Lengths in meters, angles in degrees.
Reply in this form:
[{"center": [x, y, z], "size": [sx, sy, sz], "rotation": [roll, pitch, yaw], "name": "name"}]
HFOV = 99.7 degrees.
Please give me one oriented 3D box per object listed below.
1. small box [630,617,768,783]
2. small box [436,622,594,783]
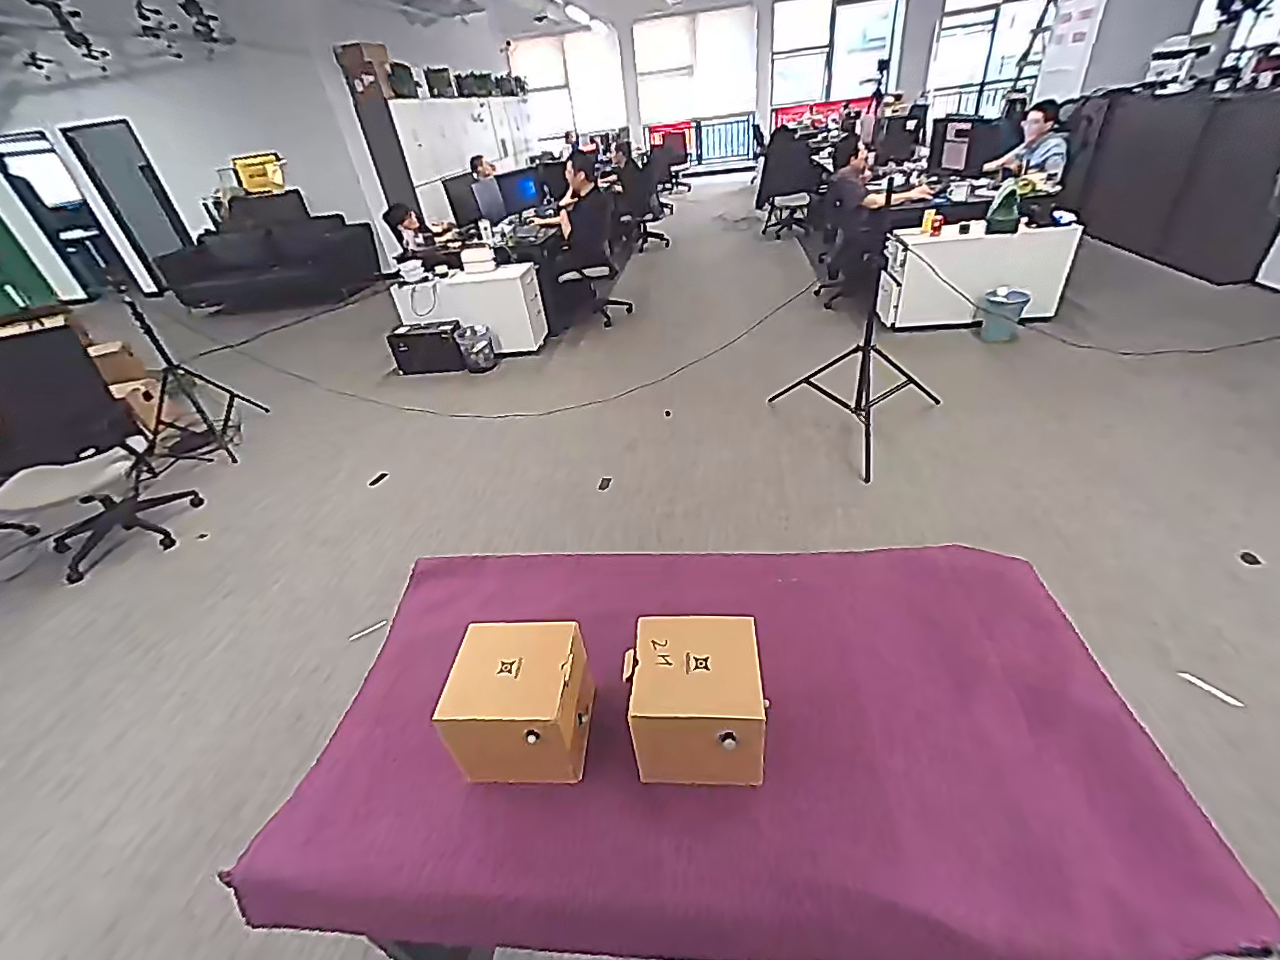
[{"center": [0.089, 0.320, 0.791], "size": [0.179, 0.176, 0.168], "rotation": [-3, 34, 8], "name": "small box"}, {"center": [-0.176, 0.338, 0.822], "size": [0.179, 0.176, 0.168], "rotation": [-3, 35, 6], "name": "small box"}]
